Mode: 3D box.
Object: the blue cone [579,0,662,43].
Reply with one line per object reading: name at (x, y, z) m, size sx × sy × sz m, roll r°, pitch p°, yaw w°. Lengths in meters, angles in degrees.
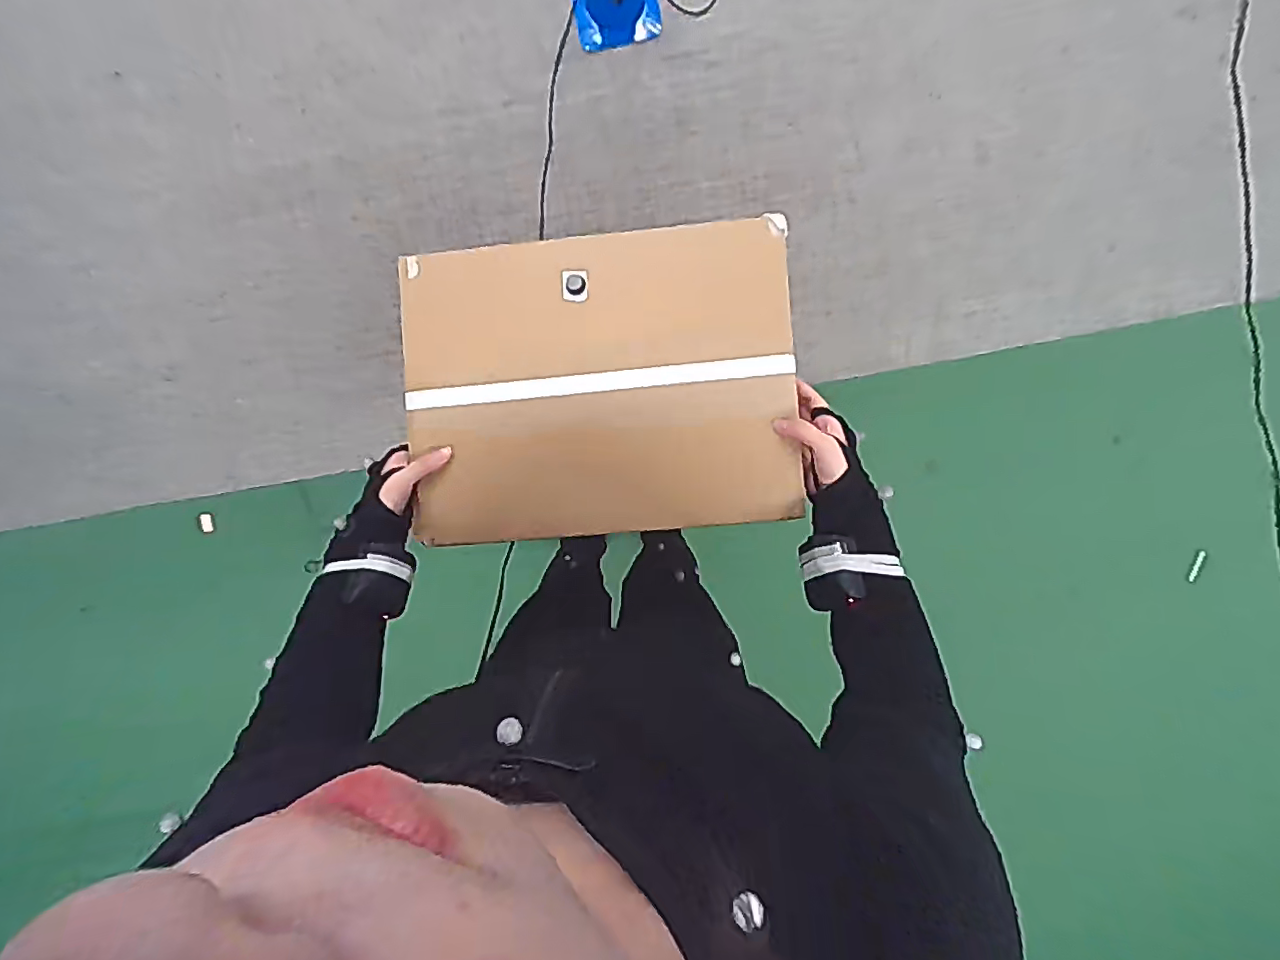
blue cone at (-0.055, -1.099, 1.085) m, size 0.193 × 0.380 × 0.192 m, roll -13°, pitch 98°, yaw 3°
